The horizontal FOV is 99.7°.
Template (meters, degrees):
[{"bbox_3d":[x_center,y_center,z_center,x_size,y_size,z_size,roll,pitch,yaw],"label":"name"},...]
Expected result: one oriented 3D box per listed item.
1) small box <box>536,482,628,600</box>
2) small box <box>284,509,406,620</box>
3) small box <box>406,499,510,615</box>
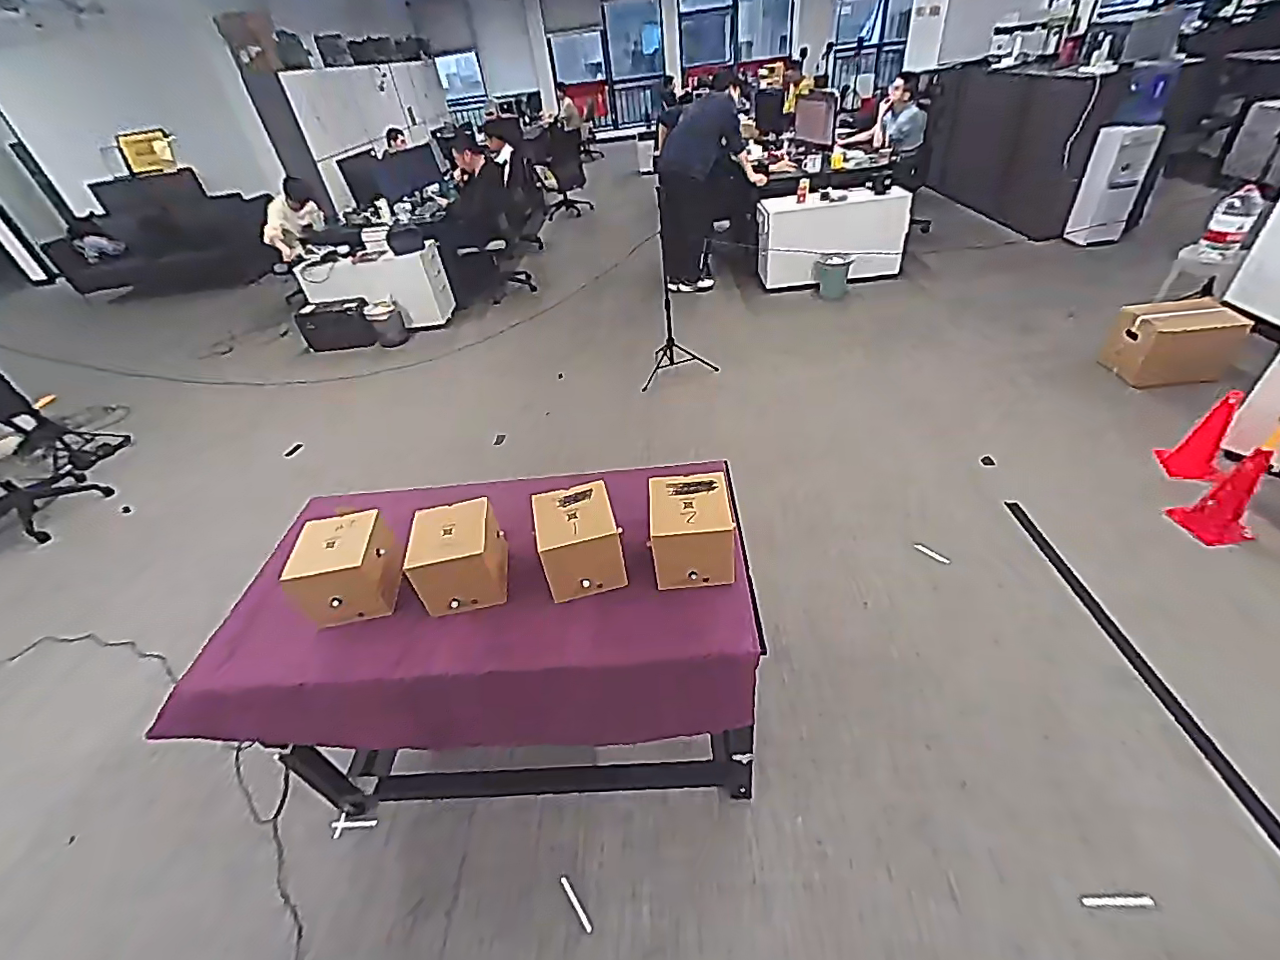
[{"bbox_3d":[-0.128,0.135,1.194,0.168,0.176,0.179,-13,40,-6],"label":"small box"},{"bbox_3d":[-0.645,0.195,1.210,0.168,0.176,0.179,-10,39,-3],"label":"small box"},{"bbox_3d":[-0.393,0.170,1.199,0.168,0.176,0.179,-11,39,-3],"label":"small box"}]
